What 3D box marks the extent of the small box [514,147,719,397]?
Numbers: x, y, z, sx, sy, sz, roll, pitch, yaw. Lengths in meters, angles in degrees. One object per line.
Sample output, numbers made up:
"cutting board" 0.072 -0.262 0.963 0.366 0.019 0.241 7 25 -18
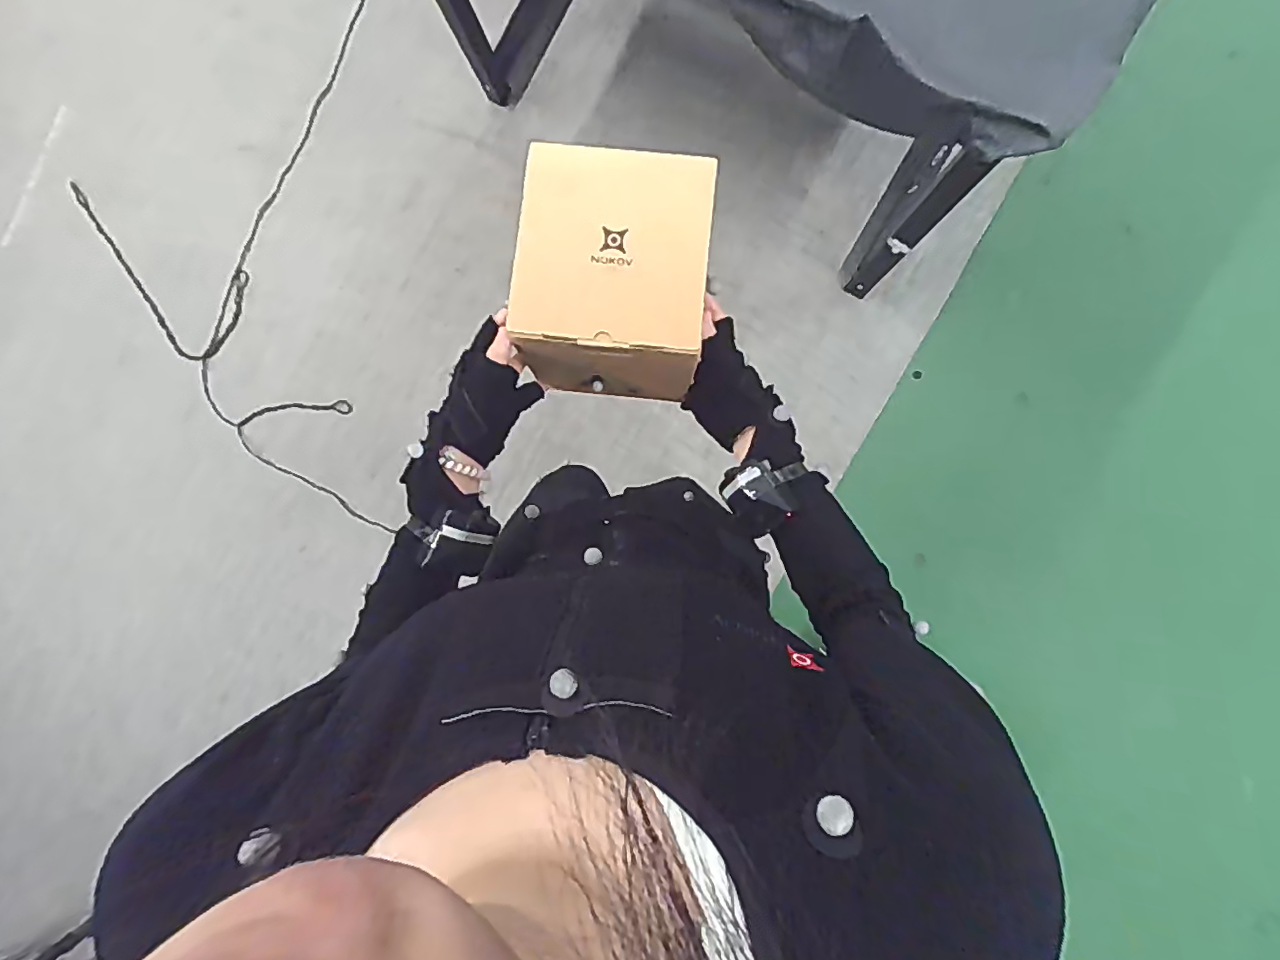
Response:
"small box" -0.020 -0.197 0.554 0.168 0.176 0.179 6 86 1
